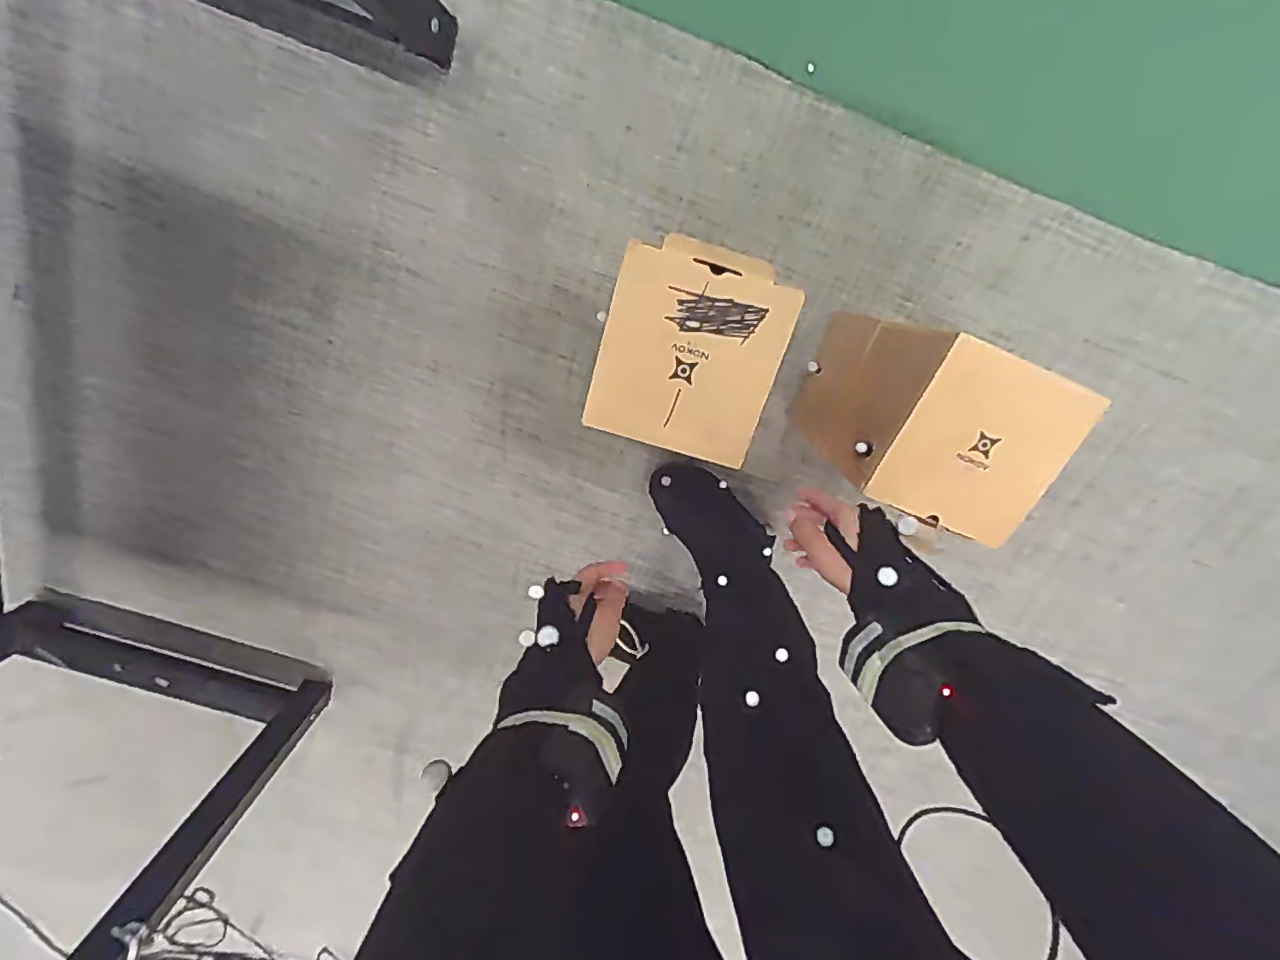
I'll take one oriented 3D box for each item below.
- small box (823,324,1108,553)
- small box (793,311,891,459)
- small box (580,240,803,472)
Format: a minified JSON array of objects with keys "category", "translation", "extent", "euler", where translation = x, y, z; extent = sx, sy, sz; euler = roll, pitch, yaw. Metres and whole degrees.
[{"category":"small box","translation":[0.325,-0.056,0.589],"extent":[0.168,0.176,0.179],"euler":[21,110,-6]},{"category":"small box","translation":[0.328,-0.114,0.741],"extent":[0.168,0.176,0.179],"euler":[20,112,-6]},{"category":"small box","translation":[0.046,-0.134,0.569],"extent":[0.168,0.176,0.179],"euler":[16,111,-3]}]
